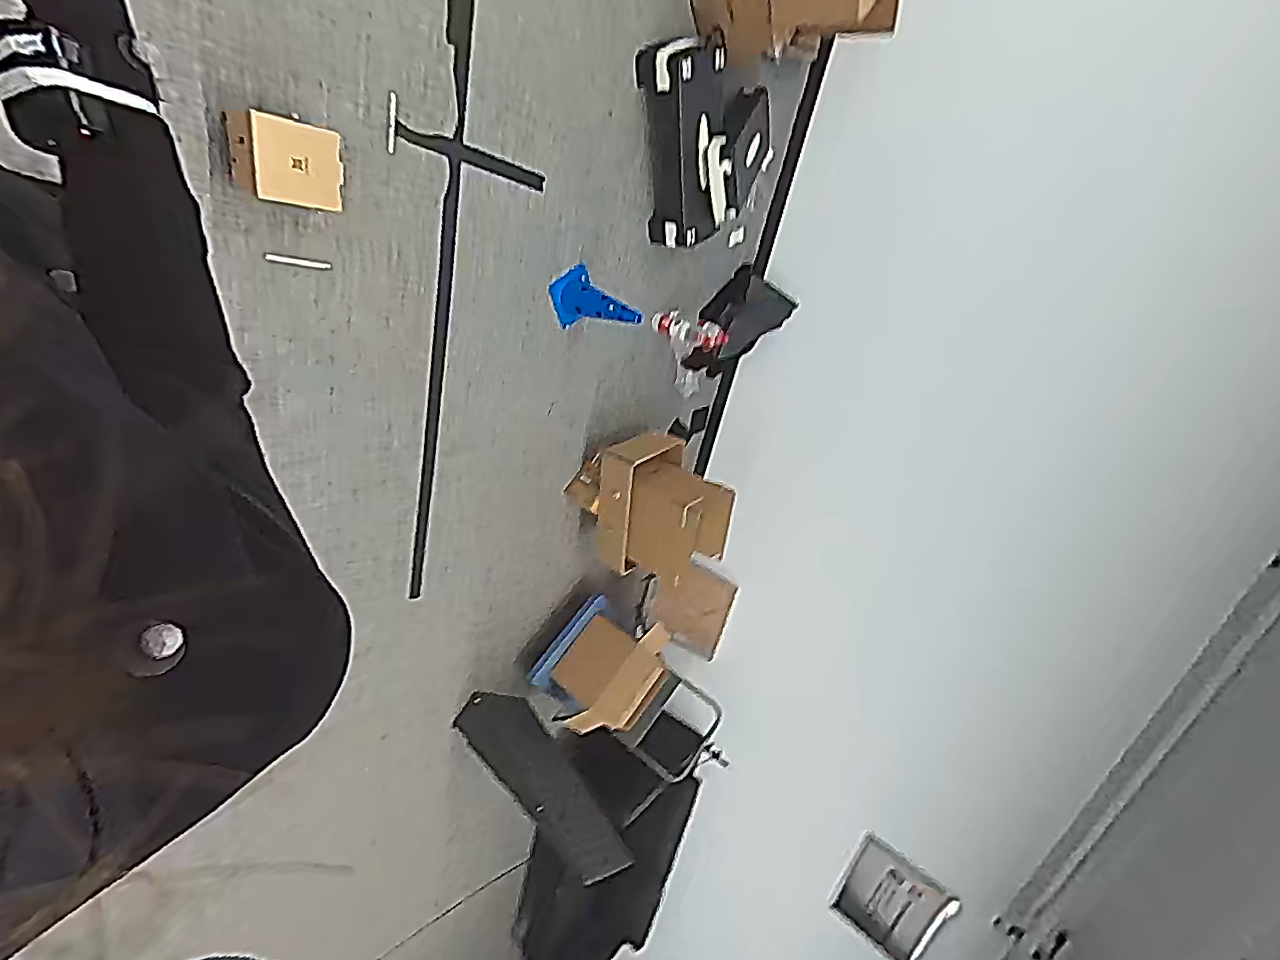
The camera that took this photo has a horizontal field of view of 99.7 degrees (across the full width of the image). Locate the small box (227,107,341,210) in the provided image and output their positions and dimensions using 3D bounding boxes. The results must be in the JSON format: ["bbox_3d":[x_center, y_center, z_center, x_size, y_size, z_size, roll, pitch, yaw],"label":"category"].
[{"bbox_3d":[-0.807,-0.726,1.226,0.179,0.176,0.168,-17,128,-48],"label":"small box"}]
